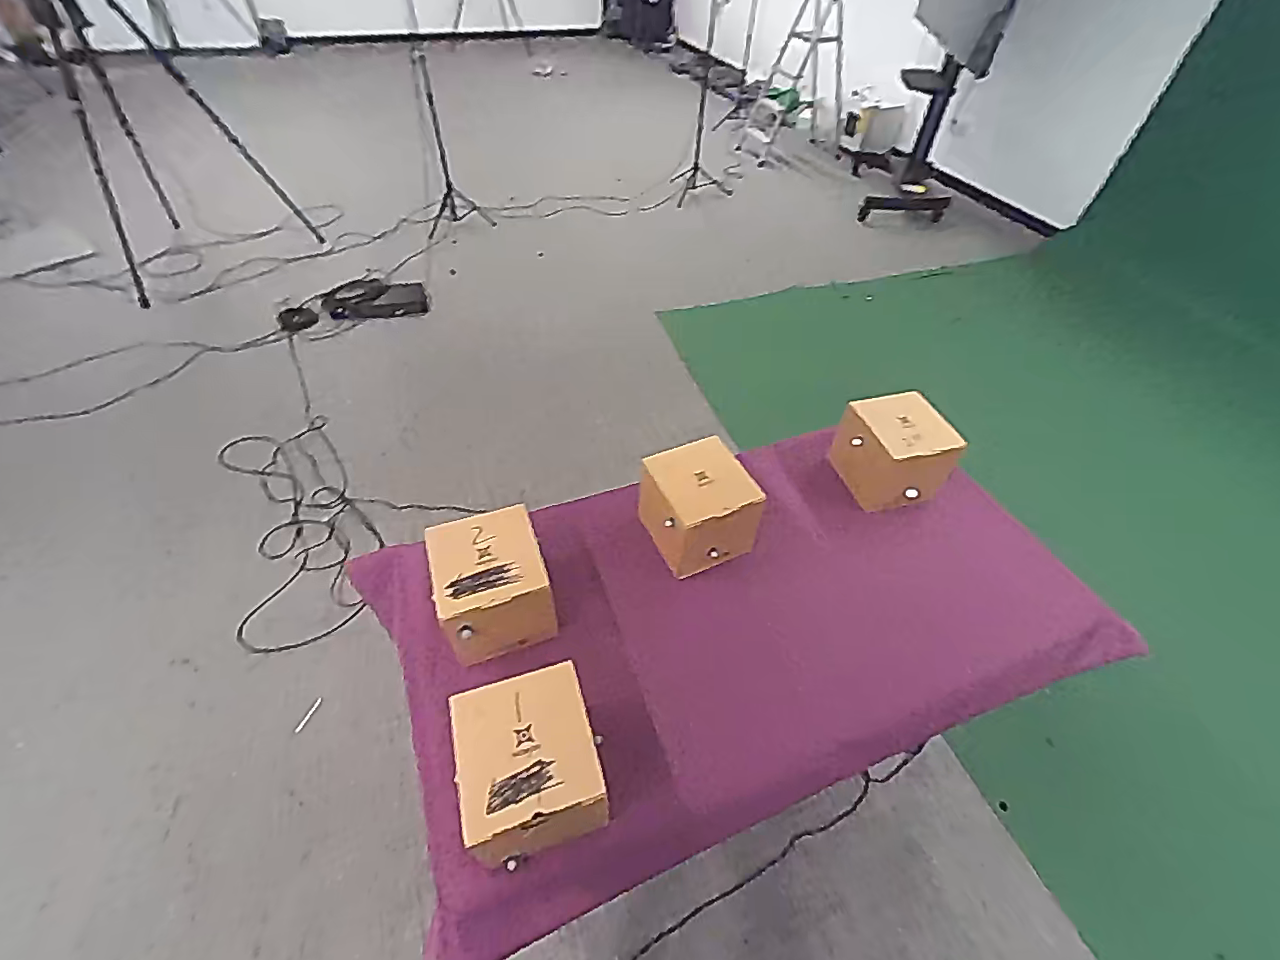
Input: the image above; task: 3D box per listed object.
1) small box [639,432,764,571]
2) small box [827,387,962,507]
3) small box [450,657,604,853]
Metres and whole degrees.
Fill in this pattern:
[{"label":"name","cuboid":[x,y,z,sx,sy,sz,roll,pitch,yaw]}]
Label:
[{"label":"small box","cuboid":[0.105,0.042,1.036,0.168,0.176,0.179,-19,54,-19]},{"label":"small box","cuboid":[0.527,-0.070,1.154,0.168,0.176,0.179,-11,51,-11]},{"label":"small box","cuboid":[-0.147,0.373,0.727,0.168,0.176,0.179,-13,49,-15]}]
